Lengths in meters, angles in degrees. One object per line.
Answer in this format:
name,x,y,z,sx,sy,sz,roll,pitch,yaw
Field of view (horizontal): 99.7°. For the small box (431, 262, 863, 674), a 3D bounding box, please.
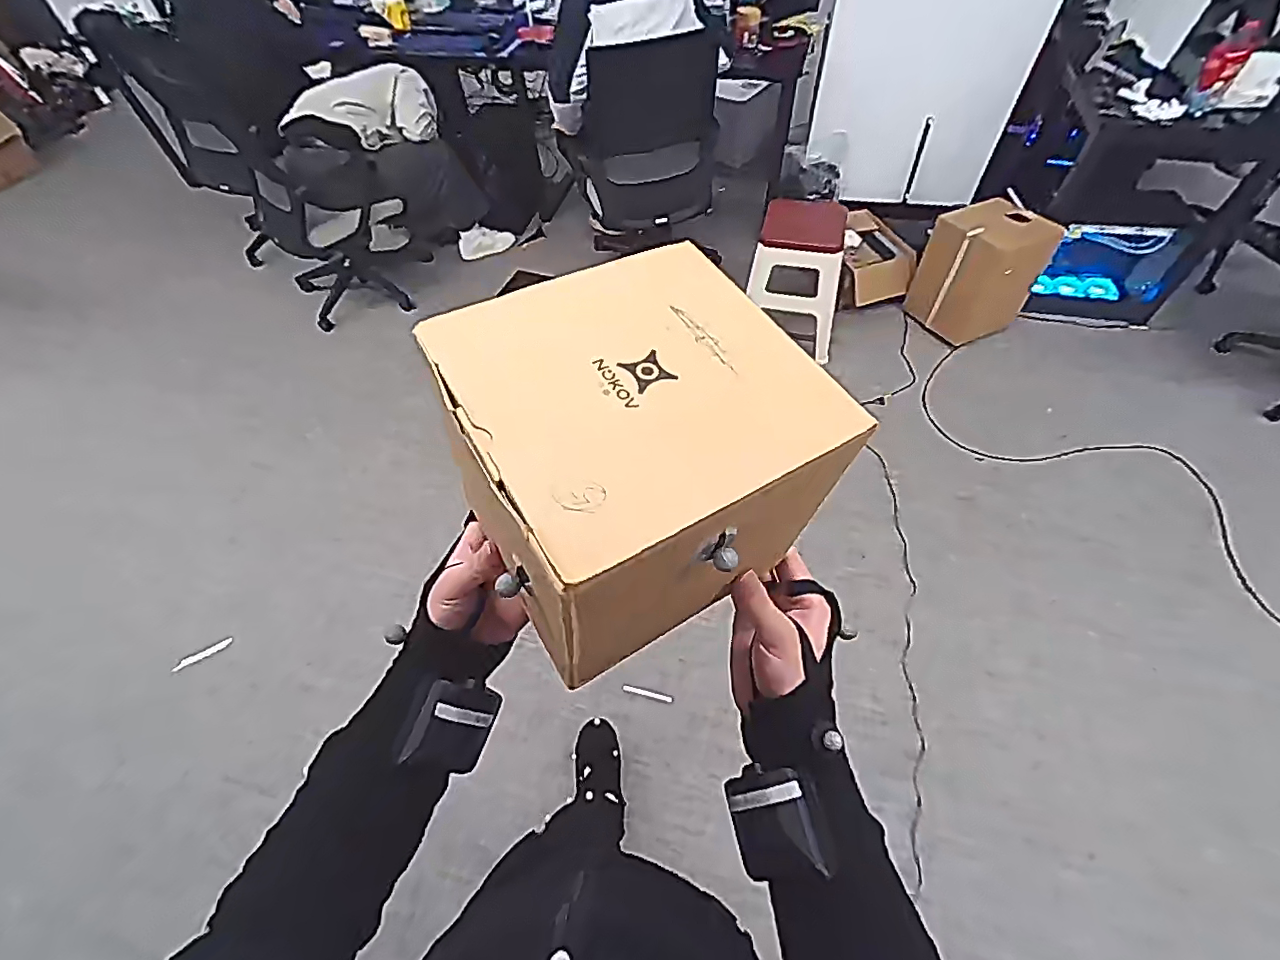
small box,-0.005,-0.003,0.348,0.179,0.176,0.168,-26,64,-22
